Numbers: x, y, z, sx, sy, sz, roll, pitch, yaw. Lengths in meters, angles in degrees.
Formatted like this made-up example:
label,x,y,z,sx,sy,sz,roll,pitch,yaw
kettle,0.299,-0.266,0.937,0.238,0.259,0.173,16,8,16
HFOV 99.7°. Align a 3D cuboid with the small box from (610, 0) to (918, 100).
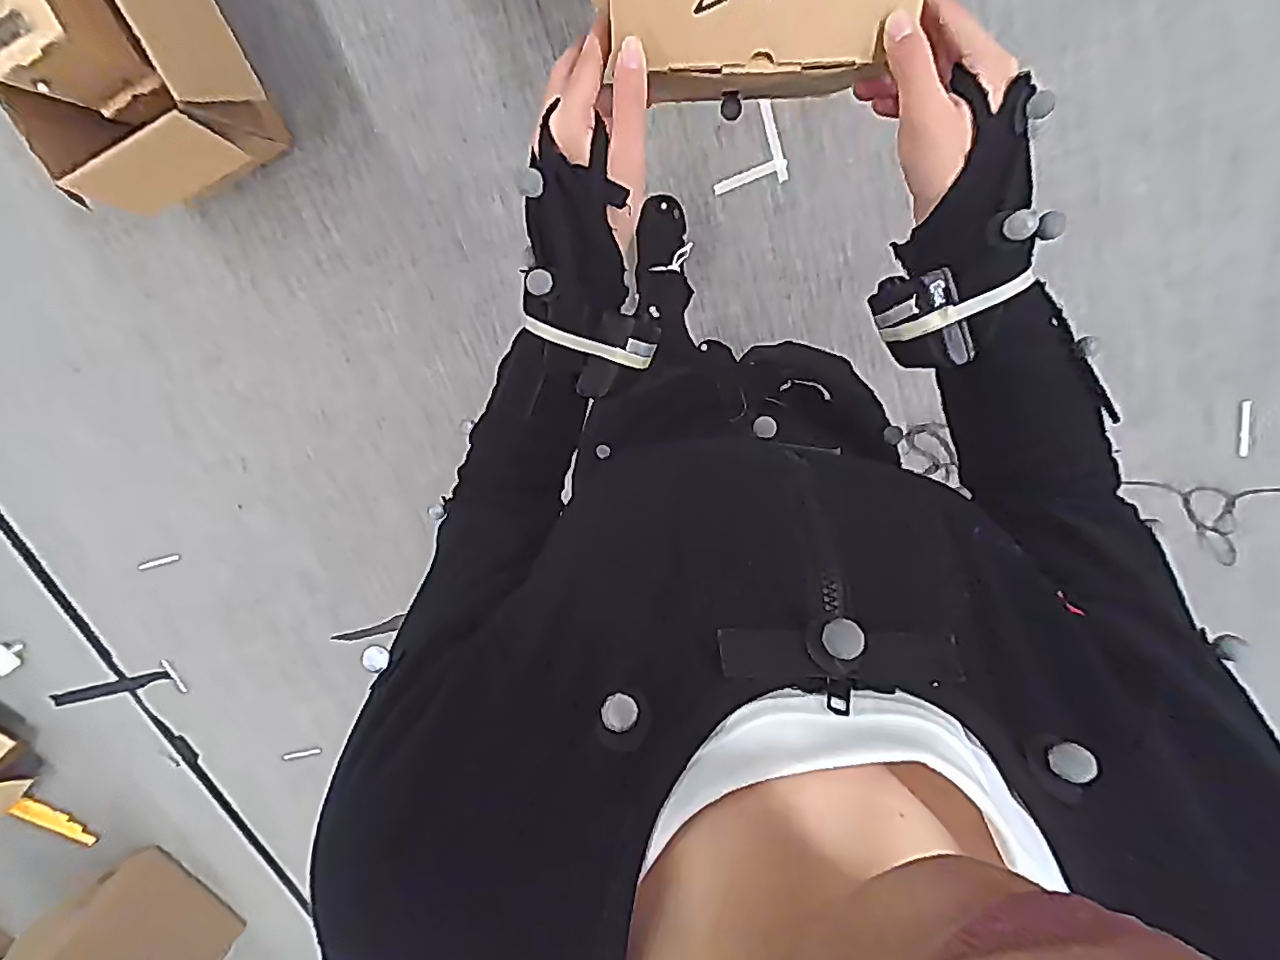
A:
label,x,y,z,sx,sy,sz,roll,pitch,yaw
small box,0.064,-0.347,0.326,0.168,0.176,0.179,-1,119,1
